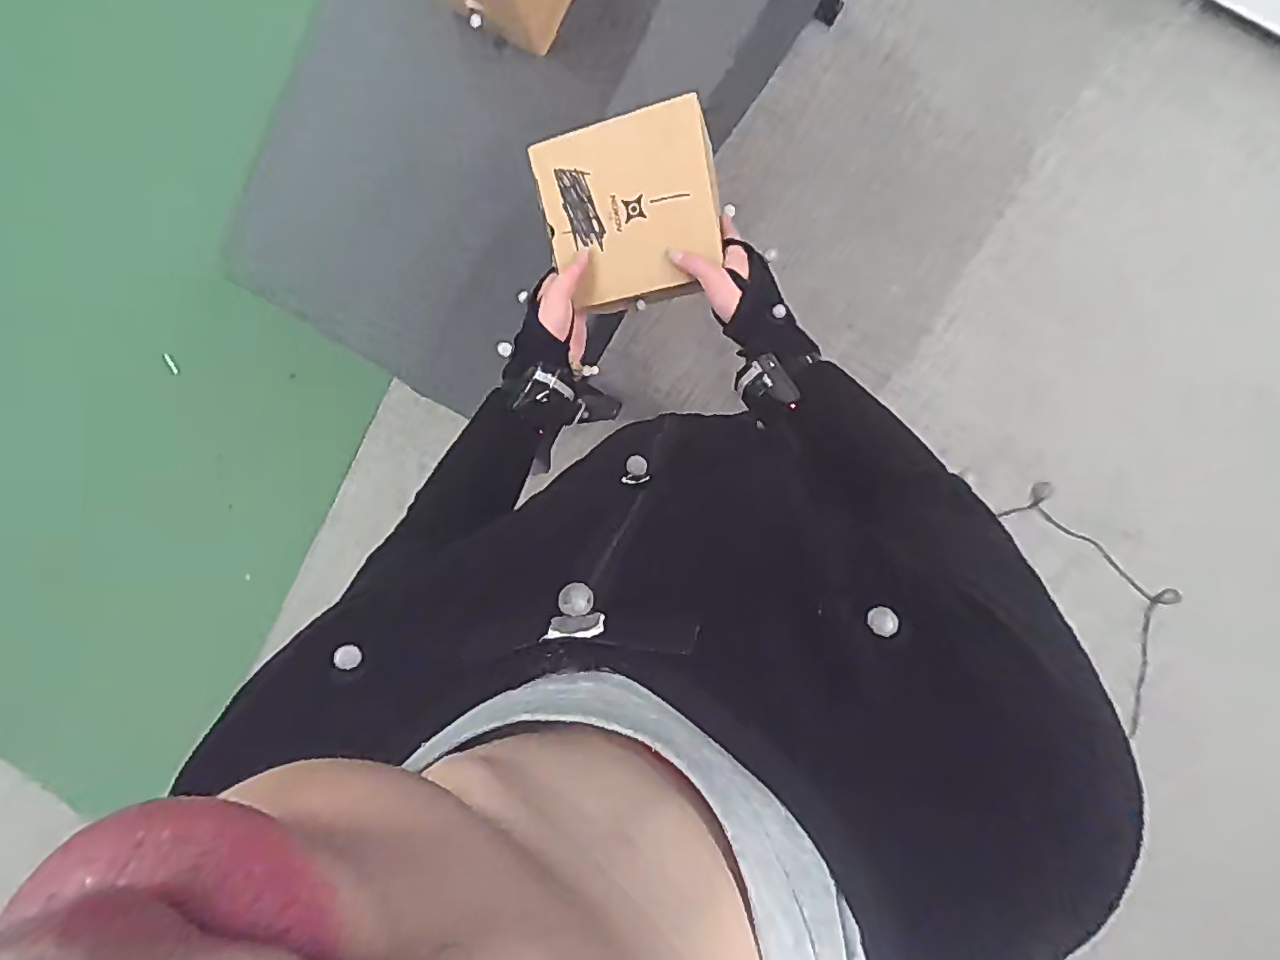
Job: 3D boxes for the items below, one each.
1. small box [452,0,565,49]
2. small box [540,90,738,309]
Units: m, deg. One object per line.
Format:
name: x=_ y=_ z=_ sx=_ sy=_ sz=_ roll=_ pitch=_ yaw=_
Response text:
small box: x=-0.177 y=-0.703 z=0.670 sx=0.168 sy=0.176 sz=0.179 roll=31 pitch=102 yaw=4
small box: x=0.013 y=-0.292 z=0.609 sx=0.179 sy=0.176 sz=0.168 roll=-8 pitch=105 yaw=13
